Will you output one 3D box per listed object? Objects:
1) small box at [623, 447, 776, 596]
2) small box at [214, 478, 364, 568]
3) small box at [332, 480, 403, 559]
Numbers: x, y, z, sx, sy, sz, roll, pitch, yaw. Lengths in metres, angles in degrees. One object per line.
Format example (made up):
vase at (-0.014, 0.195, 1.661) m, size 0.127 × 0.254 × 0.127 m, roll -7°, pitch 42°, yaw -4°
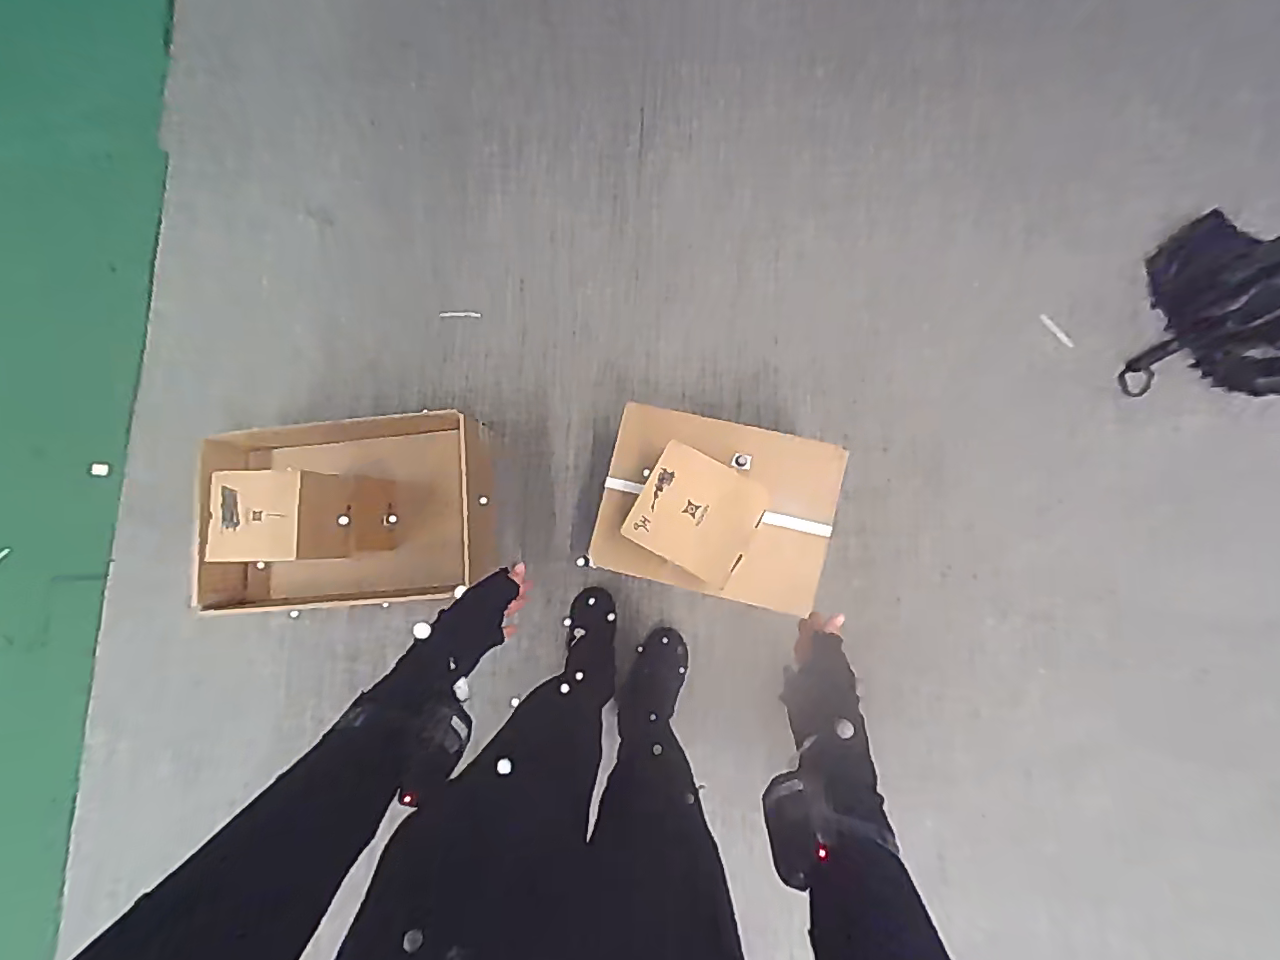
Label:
small box at (0.094, 0.066, 0.878) m, size 0.179 × 0.176 × 0.168 m, roll 28°, pitch 87°, yaw 7°
small box at (-0.675, 0.088, 1.054) m, size 0.179 × 0.176 × 0.168 m, roll -1°, pitch 83°, yaw 4°
small box at (-0.661, 0.095, 1.219) m, size 0.179 × 0.176 × 0.168 m, roll -4°, pitch 83°, yaw 4°
